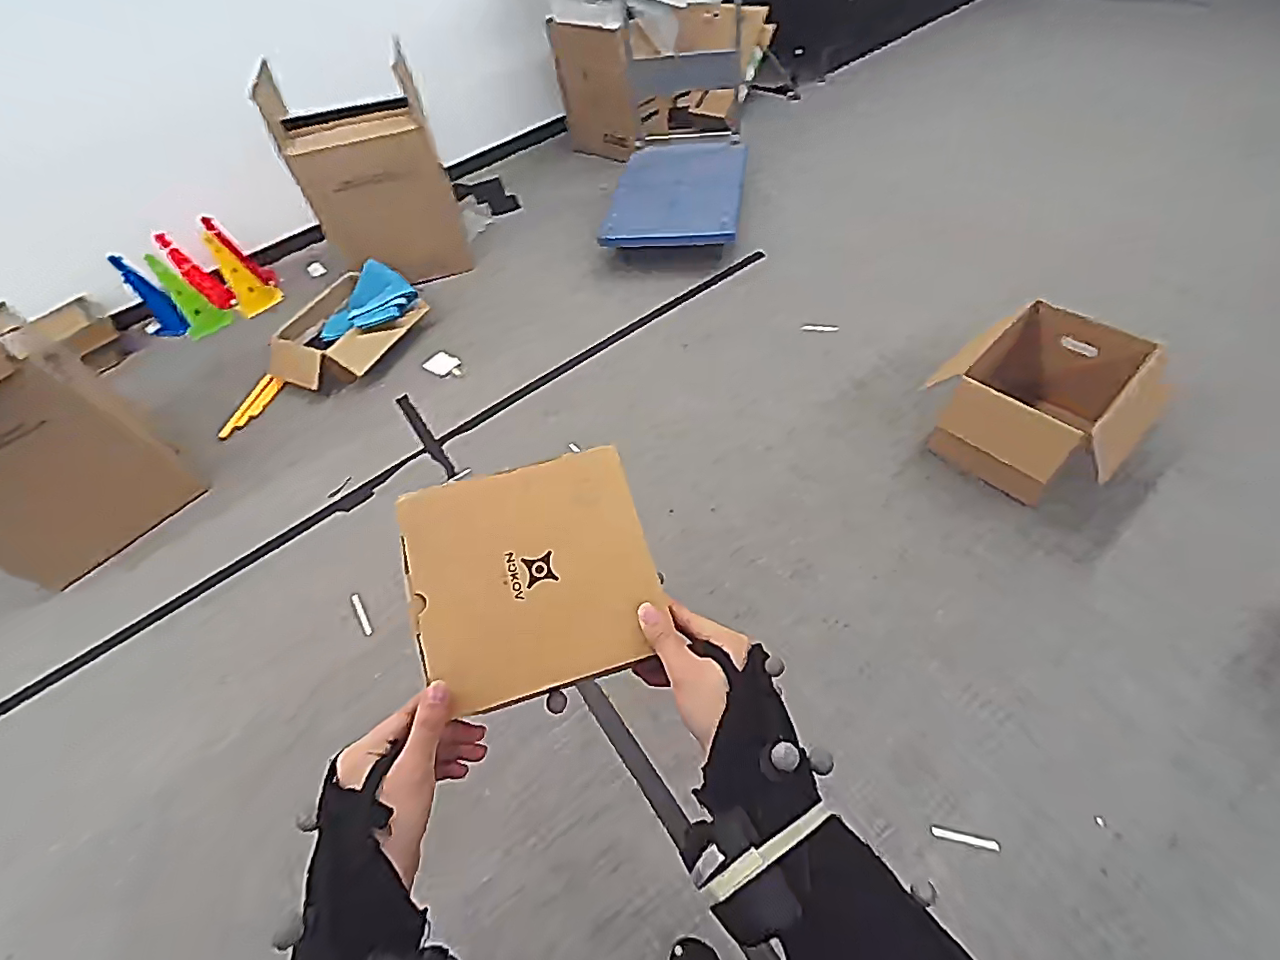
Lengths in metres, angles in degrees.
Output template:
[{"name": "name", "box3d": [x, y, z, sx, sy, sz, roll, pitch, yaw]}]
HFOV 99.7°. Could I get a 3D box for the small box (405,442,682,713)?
[{"name": "small box", "box3d": [-0.080, 0.089, 0.473, 0.179, 0.176, 0.168, -15, 71, -9]}]
